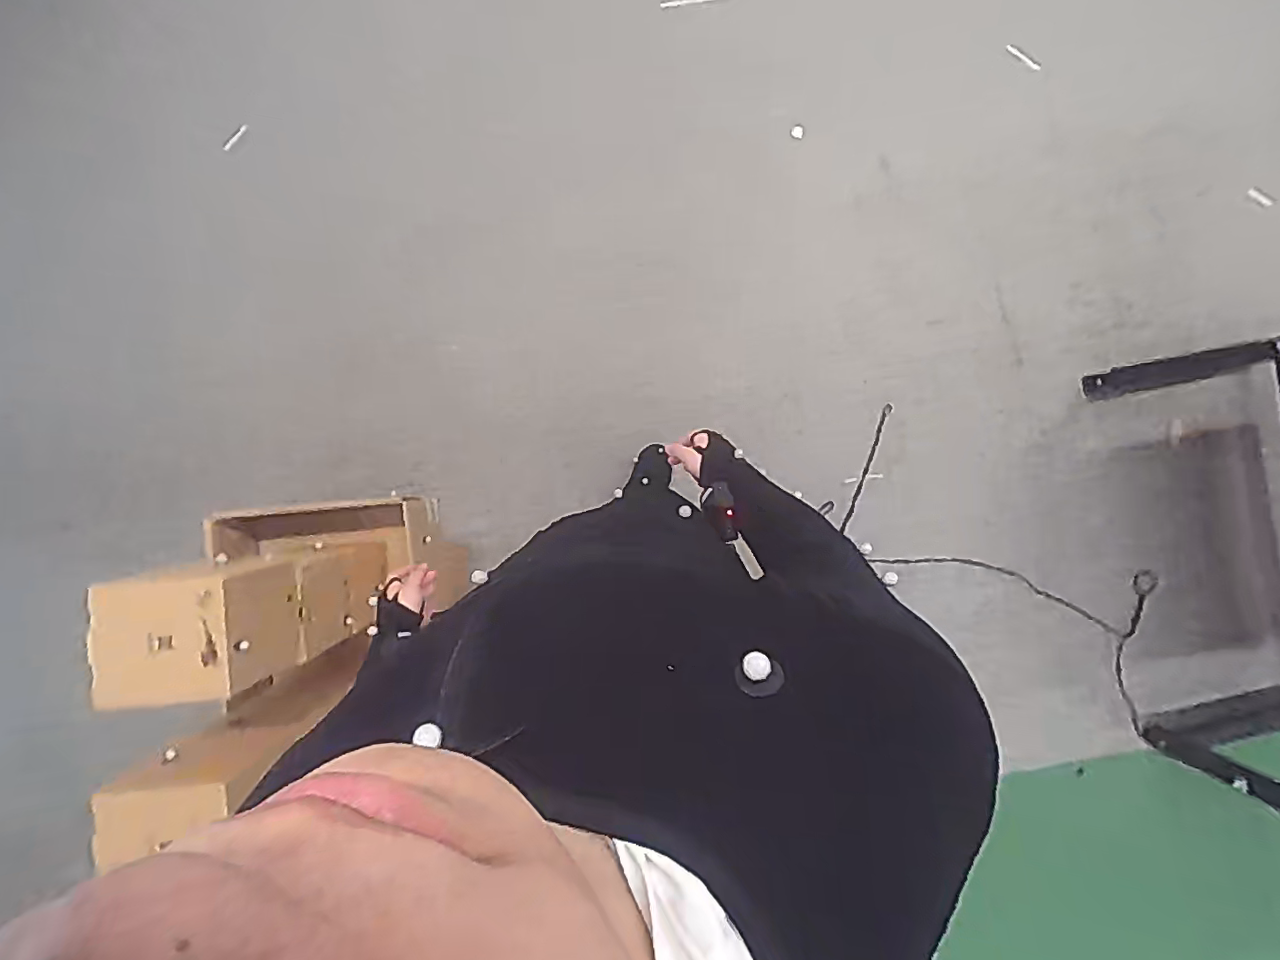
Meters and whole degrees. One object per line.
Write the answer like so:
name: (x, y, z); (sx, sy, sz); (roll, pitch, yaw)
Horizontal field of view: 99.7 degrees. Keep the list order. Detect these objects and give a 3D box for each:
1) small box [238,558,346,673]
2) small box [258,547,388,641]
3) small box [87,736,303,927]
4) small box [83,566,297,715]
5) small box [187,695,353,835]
small box: (-0.641, 0.233, 0.953); (0.179, 0.176, 0.168); (-3, 90, -2)
small box: (-0.647, 0.233, 1.117); (0.179, 0.176, 0.168); (-4, 90, -3)
small box: (-0.633, 0.497, 0.788); (0.179, 0.176, 0.168); (-4, 91, -2)
small box: (-0.641, 0.223, 0.789); (0.179, 0.176, 0.168); (-4, 90, -2)
small box: (-0.638, 0.498, 0.951); (0.179, 0.176, 0.168); (-6, 91, -2)
